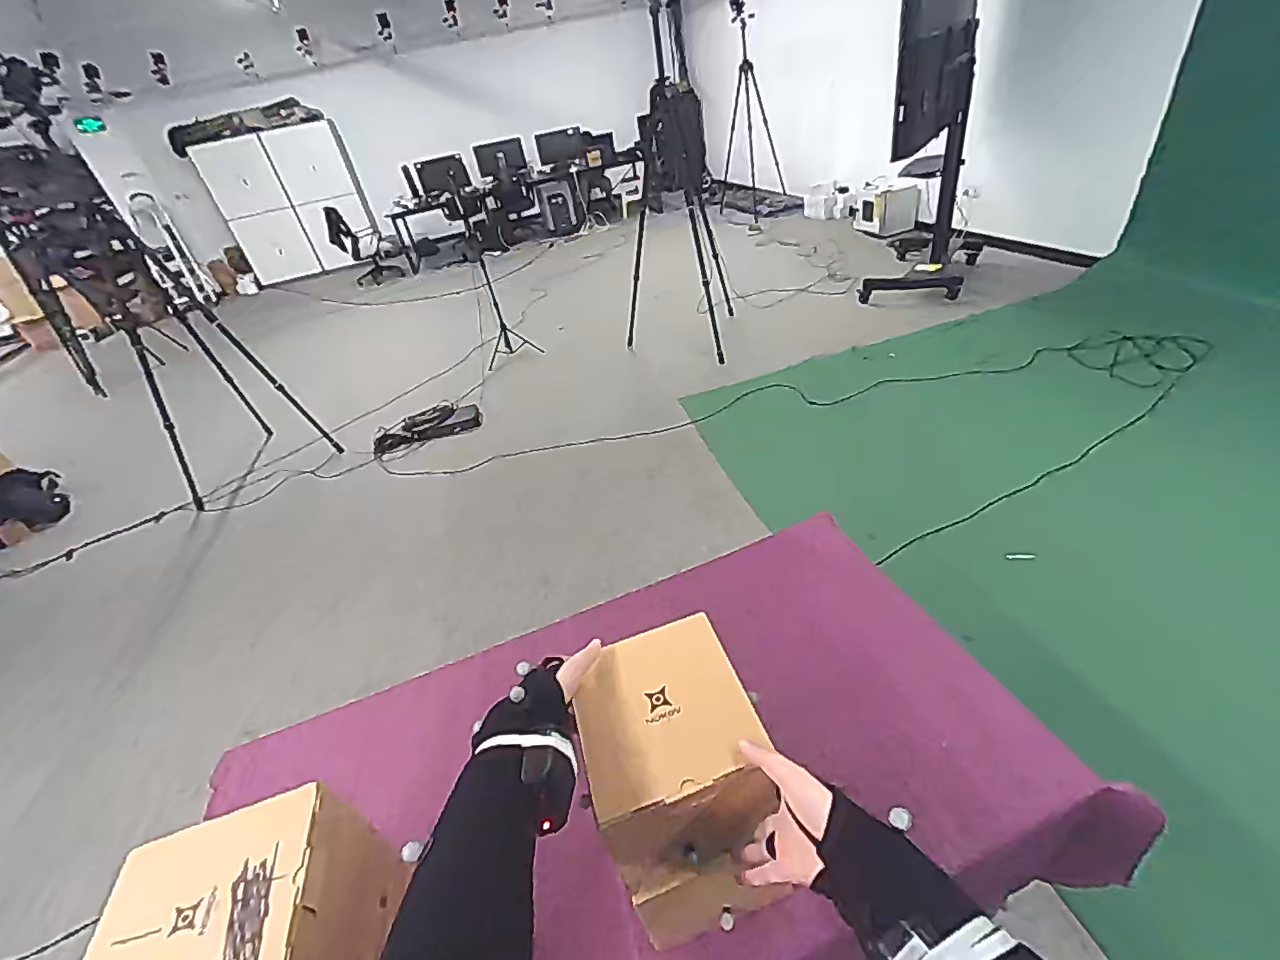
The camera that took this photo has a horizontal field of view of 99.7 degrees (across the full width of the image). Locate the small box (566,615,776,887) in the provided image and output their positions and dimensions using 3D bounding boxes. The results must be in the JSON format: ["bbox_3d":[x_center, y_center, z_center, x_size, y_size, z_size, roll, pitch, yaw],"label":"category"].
[{"bbox_3d":[0.031,0.283,0.577,0.168,0.176,0.179,-18,37,-8],"label":"small box"}]

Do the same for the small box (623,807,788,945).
[{"bbox_3d":[0.063,0.419,0.663,0.179,0.176,0.168,-18,36,-9],"label":"small box"}]

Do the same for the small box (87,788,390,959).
[{"bbox_3d":[-0.351,0.427,0.494,0.179,0.176,0.168,-18,37,-8],"label":"small box"}]

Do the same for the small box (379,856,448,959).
[{"bbox_3d":[-0.327,0.560,0.587,0.179,0.176,0.168,-17,36,-8],"label":"small box"}]
